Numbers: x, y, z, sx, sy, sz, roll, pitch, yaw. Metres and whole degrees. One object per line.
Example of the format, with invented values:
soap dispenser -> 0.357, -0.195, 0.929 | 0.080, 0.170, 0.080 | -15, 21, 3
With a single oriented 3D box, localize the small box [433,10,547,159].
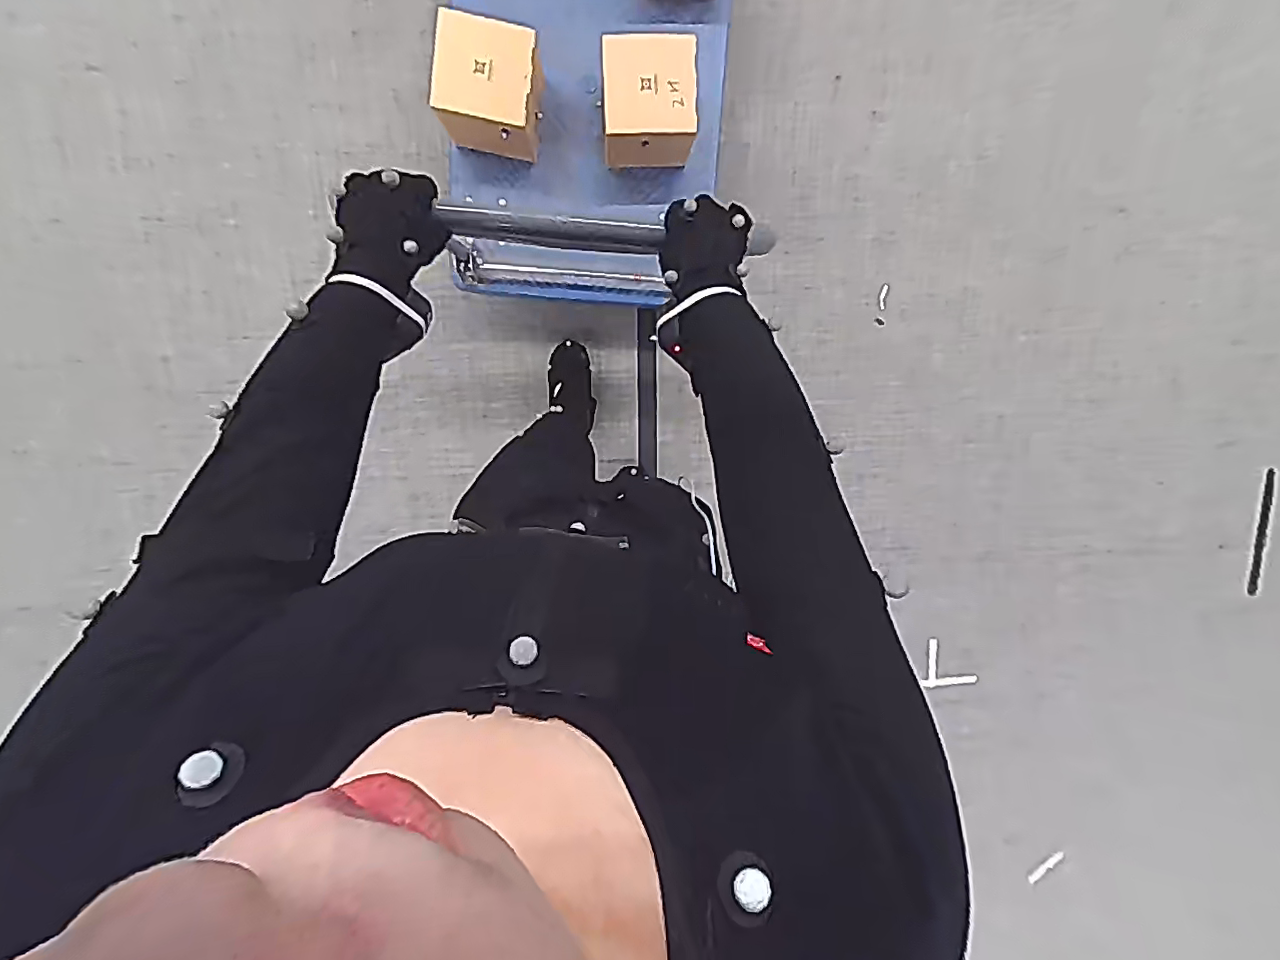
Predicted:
small box -> -0.288, -0.763, 1.063 | 0.179, 0.176, 0.168 | 9, 100, -7

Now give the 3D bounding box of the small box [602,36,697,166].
small box -> 0.017, -0.747, 1.084 | 0.179, 0.176, 0.168 | -2, 102, -3
